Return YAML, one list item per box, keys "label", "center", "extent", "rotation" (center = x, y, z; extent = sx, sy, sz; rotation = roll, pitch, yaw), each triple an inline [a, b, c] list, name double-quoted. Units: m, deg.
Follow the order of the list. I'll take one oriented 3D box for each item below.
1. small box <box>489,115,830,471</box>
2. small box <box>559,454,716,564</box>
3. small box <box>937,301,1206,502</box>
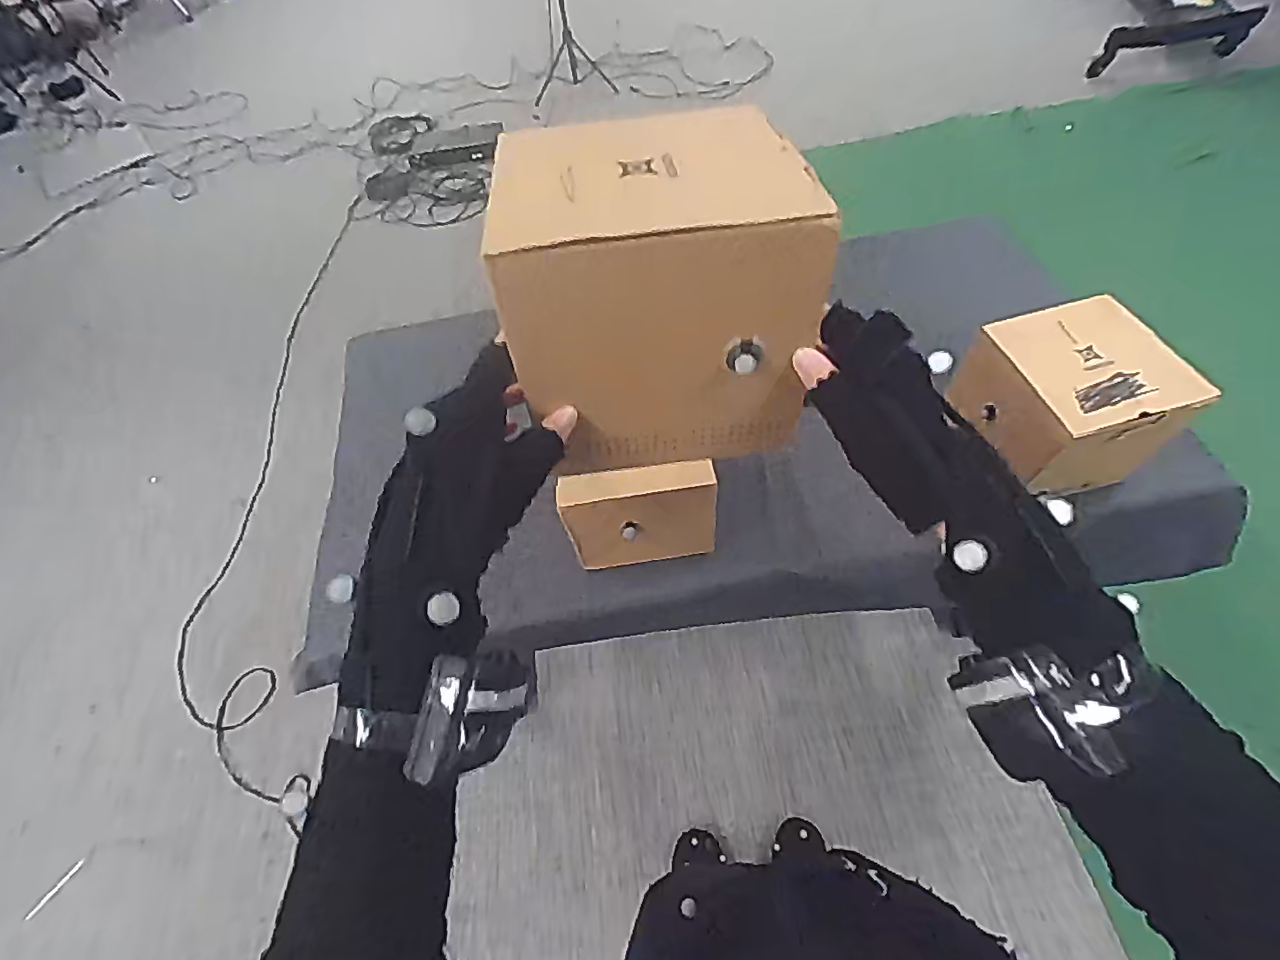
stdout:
- label: "small box"
  center: [0.008, -0.126, 0.381]
  extent: [0.179, 0.176, 0.168]
  rotation: [-8, 49, 0]
- label: "small box"
  center: [-0.001, -0.005, 0.701]
  extent: [0.179, 0.176, 0.168]
  rotation: [-9, 56, 2]
- label: "small box"
  center: [0.517, -0.089, 0.685]
  extent: [0.168, 0.176, 0.179]
  rotation: [-14, 57, -1]
